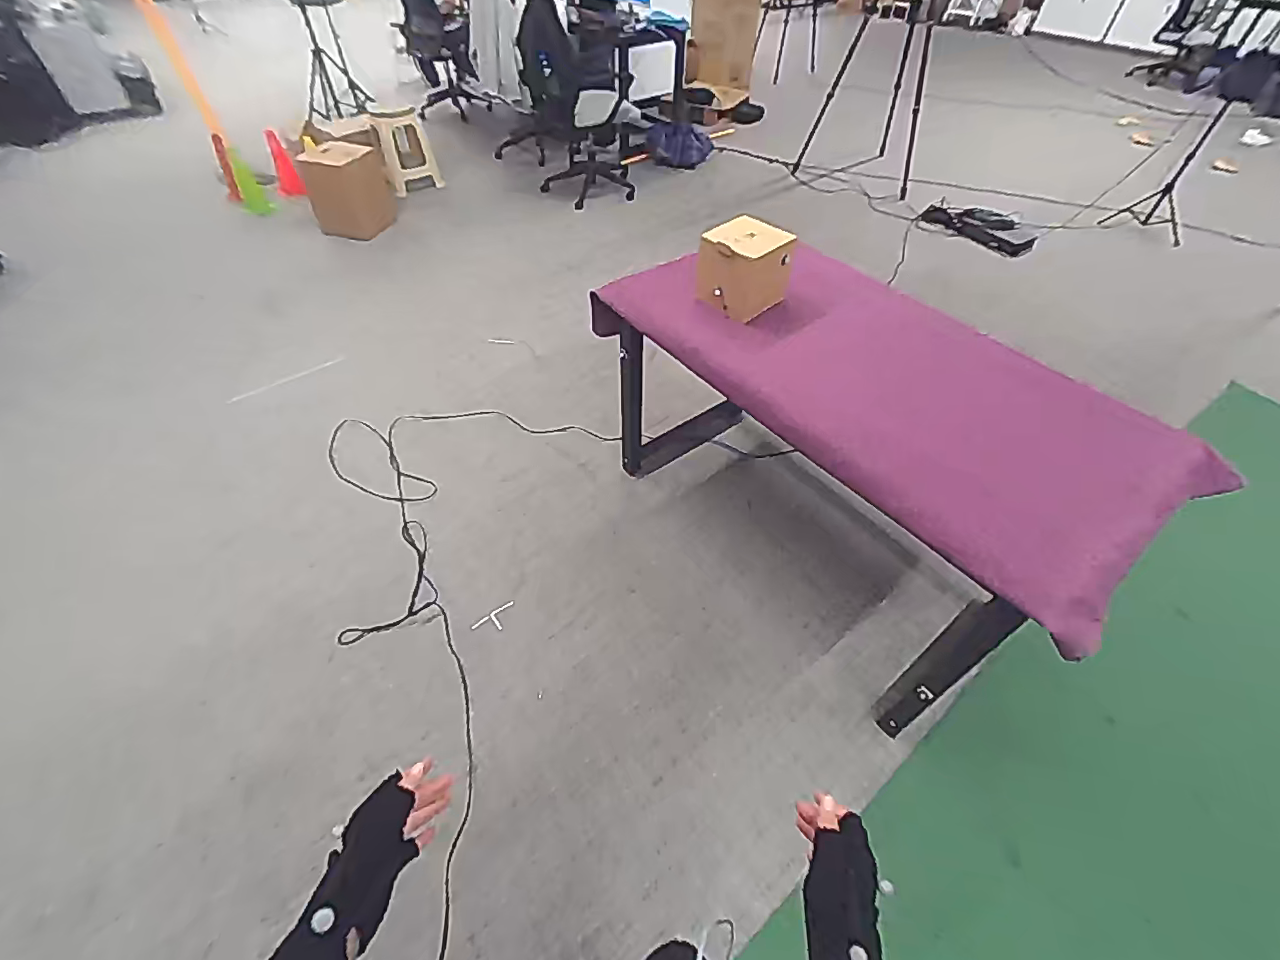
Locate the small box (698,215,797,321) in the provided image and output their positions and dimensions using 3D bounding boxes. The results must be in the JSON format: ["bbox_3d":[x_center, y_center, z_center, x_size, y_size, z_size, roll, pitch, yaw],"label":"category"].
[{"bbox_3d":[0.260,-0.528,1.349,0.179,0.176,0.168,-36,57,-28],"label":"small box"}]
